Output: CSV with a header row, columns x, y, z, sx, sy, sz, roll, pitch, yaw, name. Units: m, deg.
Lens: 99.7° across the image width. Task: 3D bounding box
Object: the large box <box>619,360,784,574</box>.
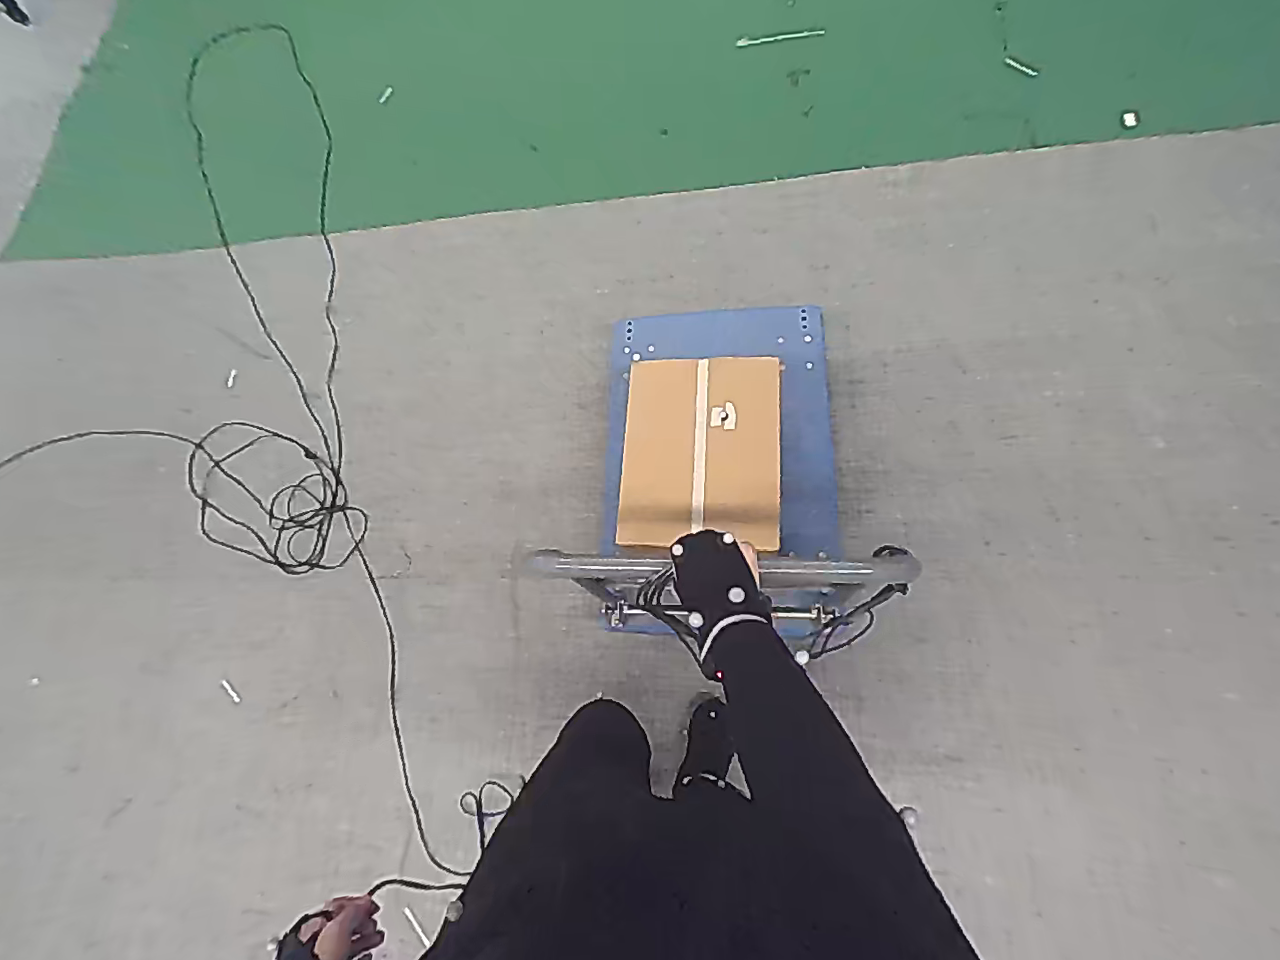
x,y,z,sx,sy,sz,roll,pitch,yaw,name
0.148,-0.013,1.211,0.320,0.320,0.408,1,72,10,large box
